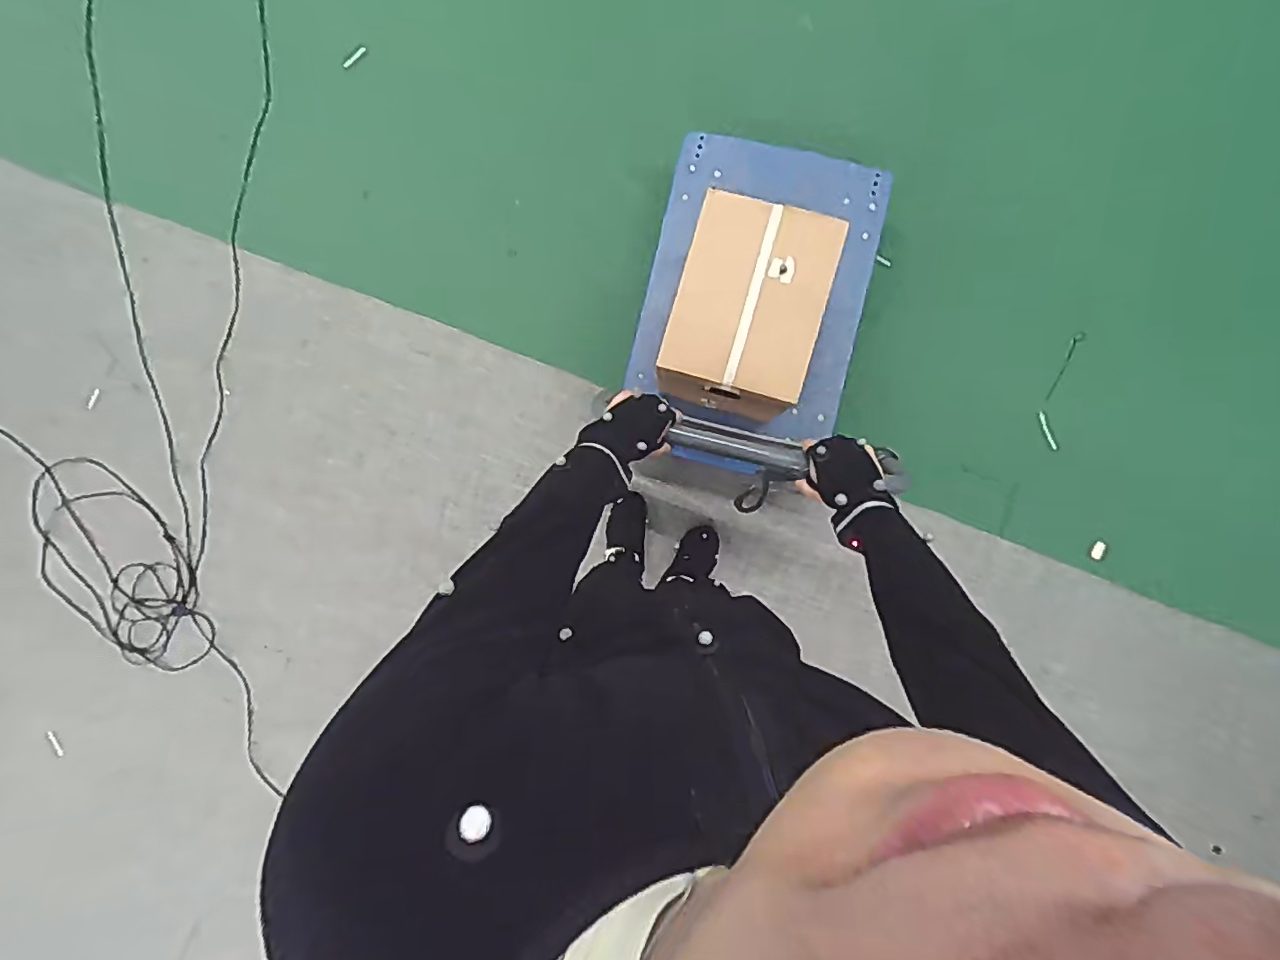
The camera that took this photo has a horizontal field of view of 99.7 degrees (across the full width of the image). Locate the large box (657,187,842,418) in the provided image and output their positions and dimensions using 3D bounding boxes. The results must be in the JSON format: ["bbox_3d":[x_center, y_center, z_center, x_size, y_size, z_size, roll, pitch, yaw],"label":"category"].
[{"bbox_3d":[0.242,-0.396,1.299,0.320,0.320,0.408,16,89,3],"label":"large box"}]
